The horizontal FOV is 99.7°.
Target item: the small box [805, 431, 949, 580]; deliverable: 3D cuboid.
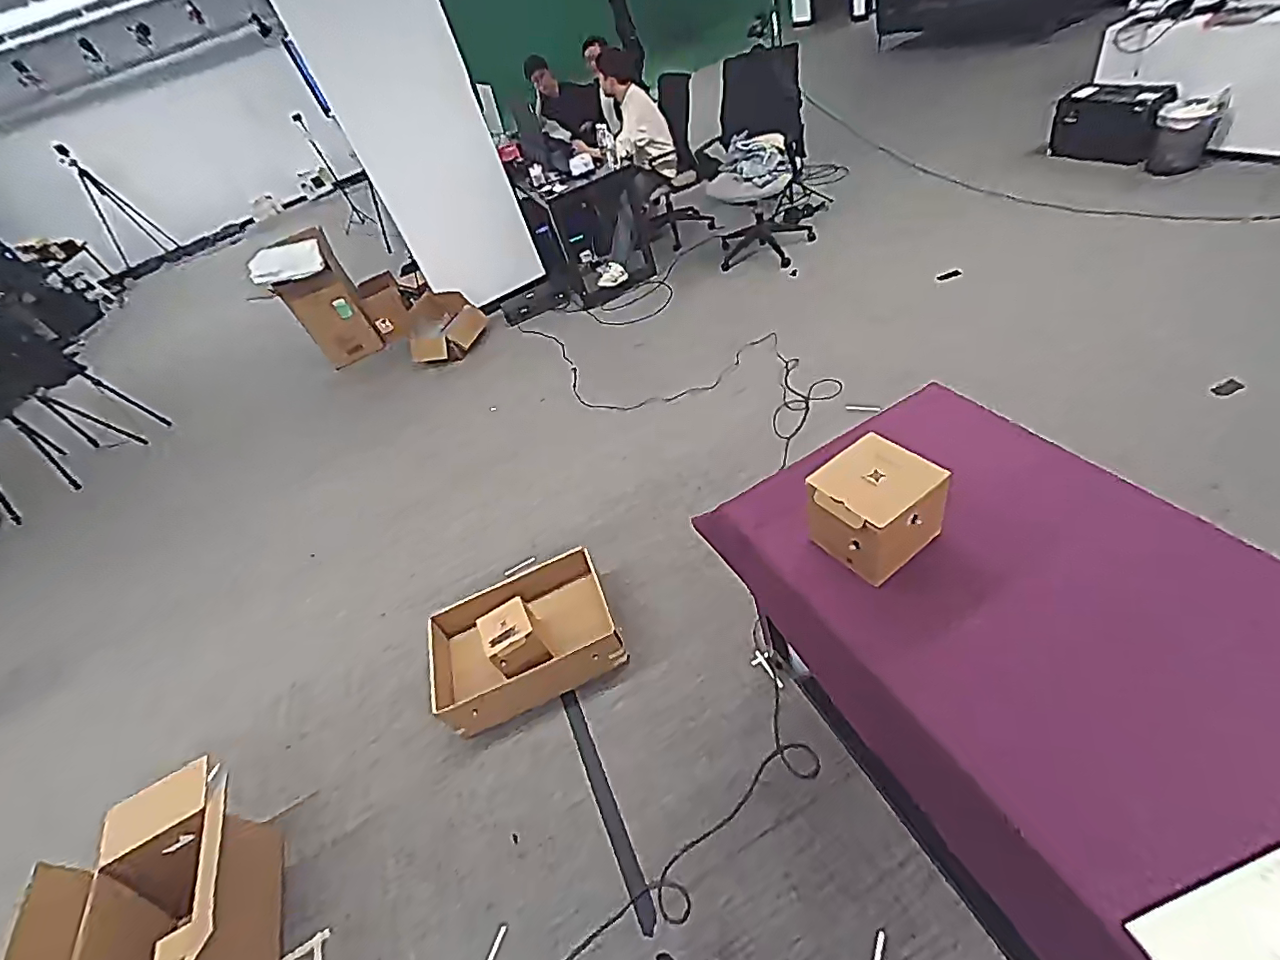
[{"bbox_3d":[0.428,0.048,0.989,0.179,0.176,0.168,-34,45,-14],"label":"small box"}]
